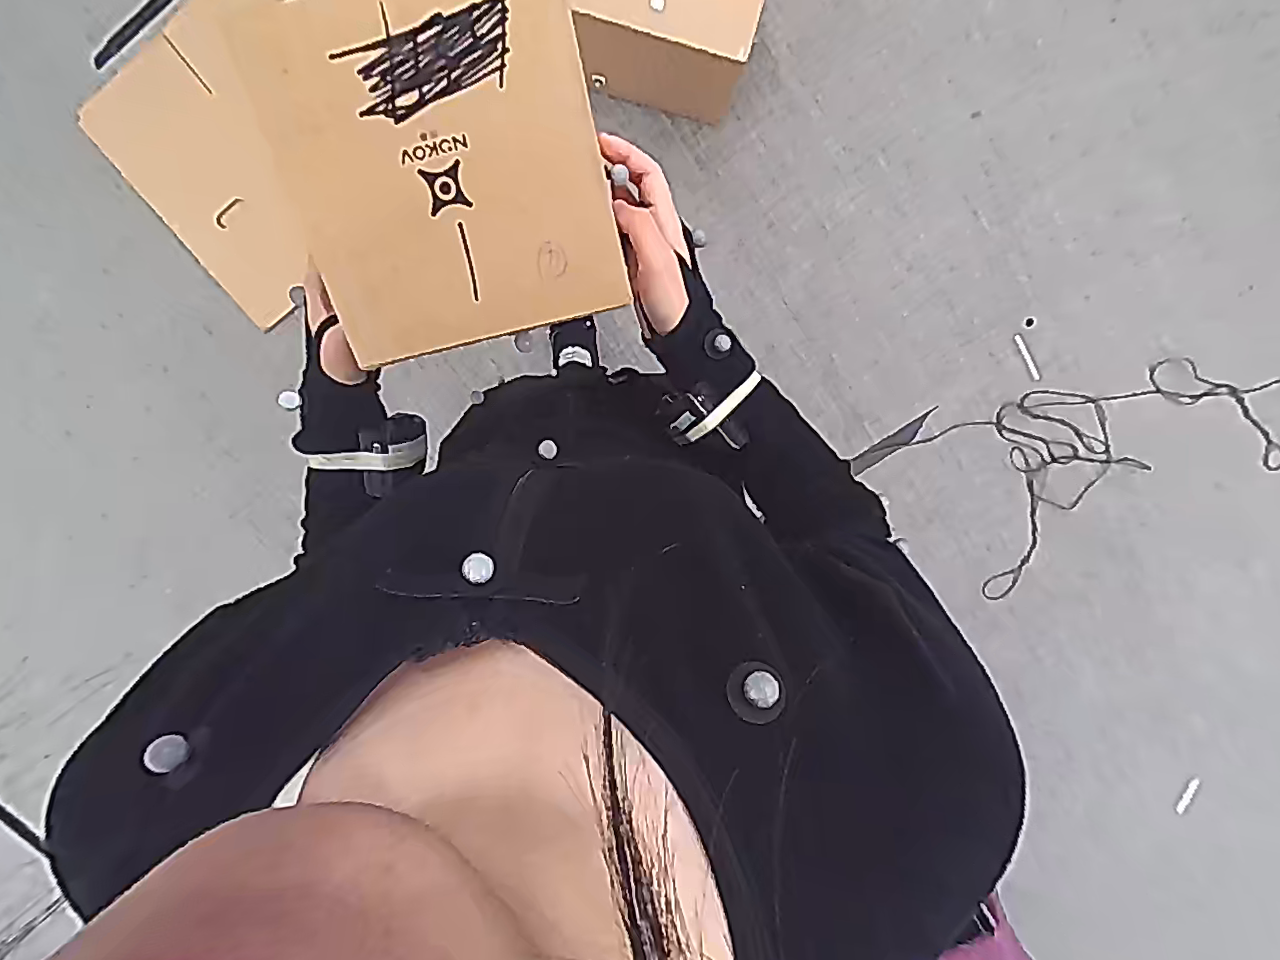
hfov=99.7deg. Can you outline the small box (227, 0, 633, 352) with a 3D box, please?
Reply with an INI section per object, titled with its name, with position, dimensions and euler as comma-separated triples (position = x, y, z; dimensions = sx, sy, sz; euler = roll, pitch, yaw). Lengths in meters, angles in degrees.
[small box]
position = -0.103, -0.193, 0.356
dimensions = 0.168, 0.176, 0.179
euler = -12, 109, 3
